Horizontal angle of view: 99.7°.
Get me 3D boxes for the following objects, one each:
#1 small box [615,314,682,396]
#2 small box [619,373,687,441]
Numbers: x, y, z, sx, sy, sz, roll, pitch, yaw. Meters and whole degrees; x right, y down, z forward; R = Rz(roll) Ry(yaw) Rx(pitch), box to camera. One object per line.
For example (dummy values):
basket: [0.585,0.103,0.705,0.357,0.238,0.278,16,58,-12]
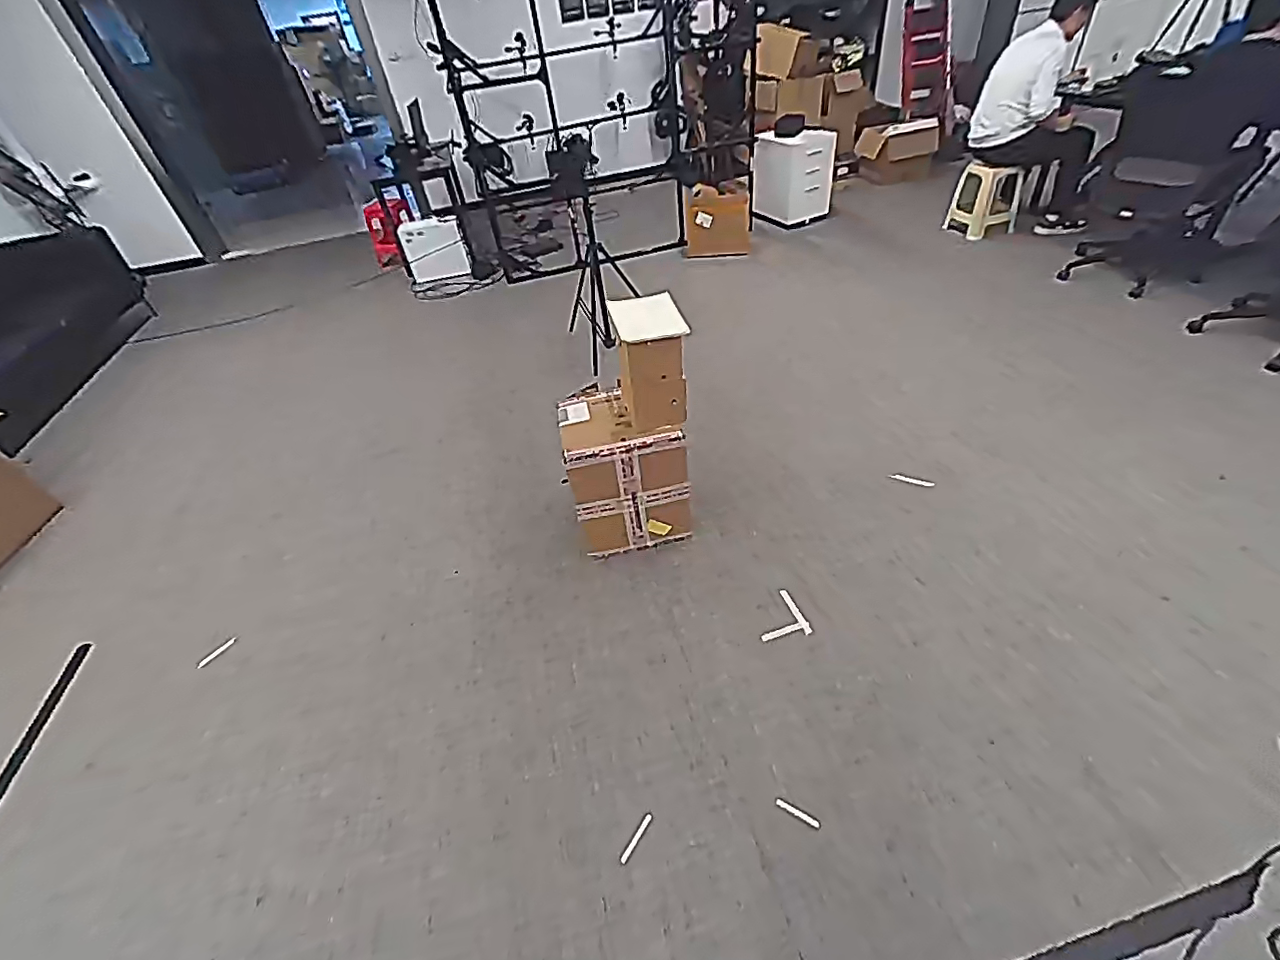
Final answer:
small box: [0.025,-0.378,1.636,0.168,0.176,0.179,-13,42,-8]
small box: [0.043,-0.252,1.739,0.179,0.176,0.168,-16,43,-9]
